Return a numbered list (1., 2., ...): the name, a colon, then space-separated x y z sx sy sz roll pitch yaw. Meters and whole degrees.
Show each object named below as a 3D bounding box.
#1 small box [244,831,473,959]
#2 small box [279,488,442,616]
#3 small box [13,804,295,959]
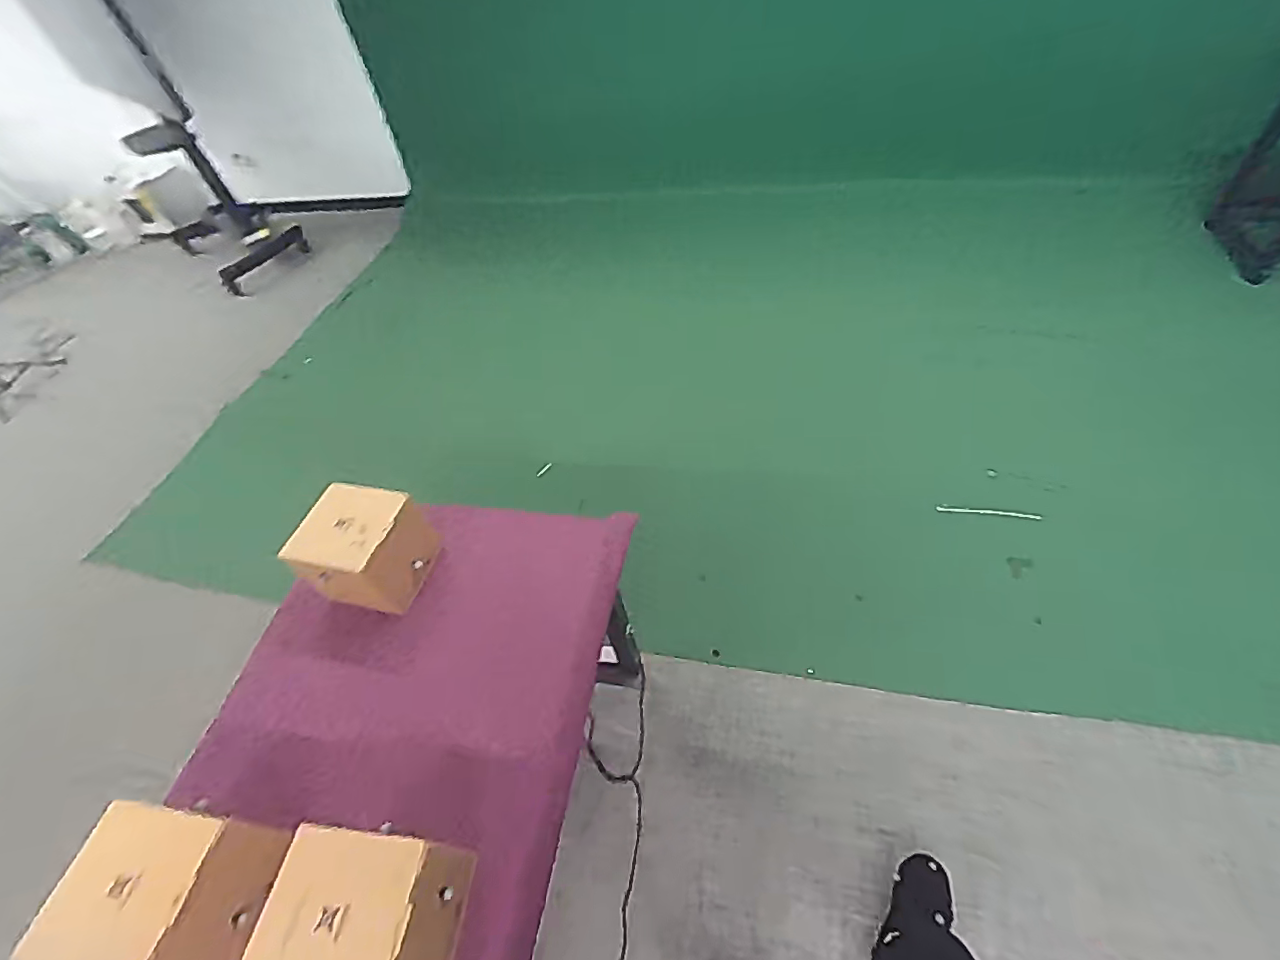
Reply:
1. small box: -0.330 0.543 0.657 0.179 0.176 0.168 0 50 11
2. small box: -0.511 0.137 1.016 0.179 0.176 0.168 8 54 14
3. small box: -0.605 0.543 0.704 0.179 0.176 0.168 3 51 11
